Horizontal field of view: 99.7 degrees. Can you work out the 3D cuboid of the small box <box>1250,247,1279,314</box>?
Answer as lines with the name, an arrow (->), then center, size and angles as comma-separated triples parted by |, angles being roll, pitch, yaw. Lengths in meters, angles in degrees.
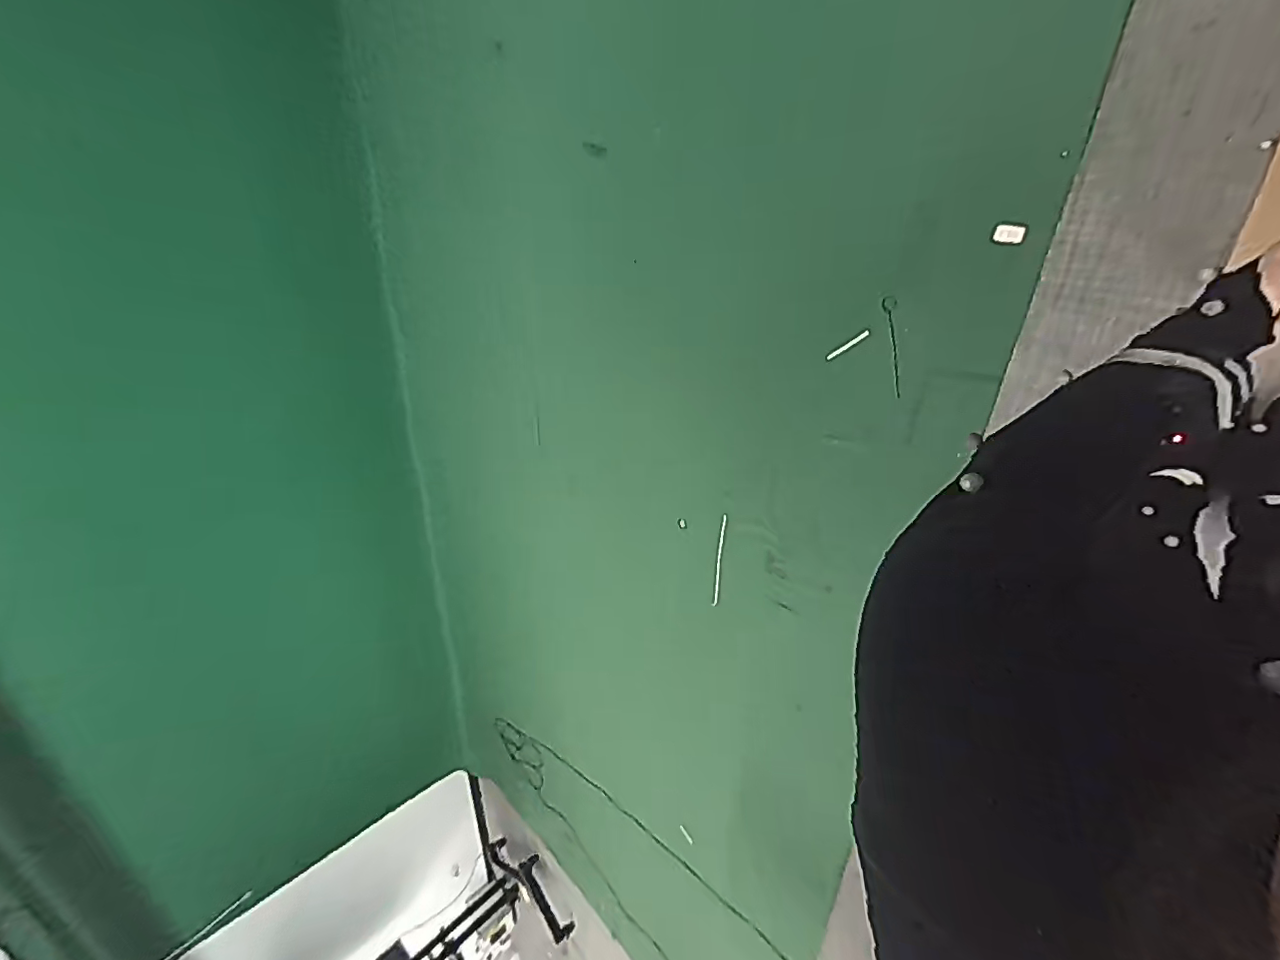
small box -> 0.640, -0.213, 0.399 | 0.179, 0.176, 0.168 | 33, 92, 33
